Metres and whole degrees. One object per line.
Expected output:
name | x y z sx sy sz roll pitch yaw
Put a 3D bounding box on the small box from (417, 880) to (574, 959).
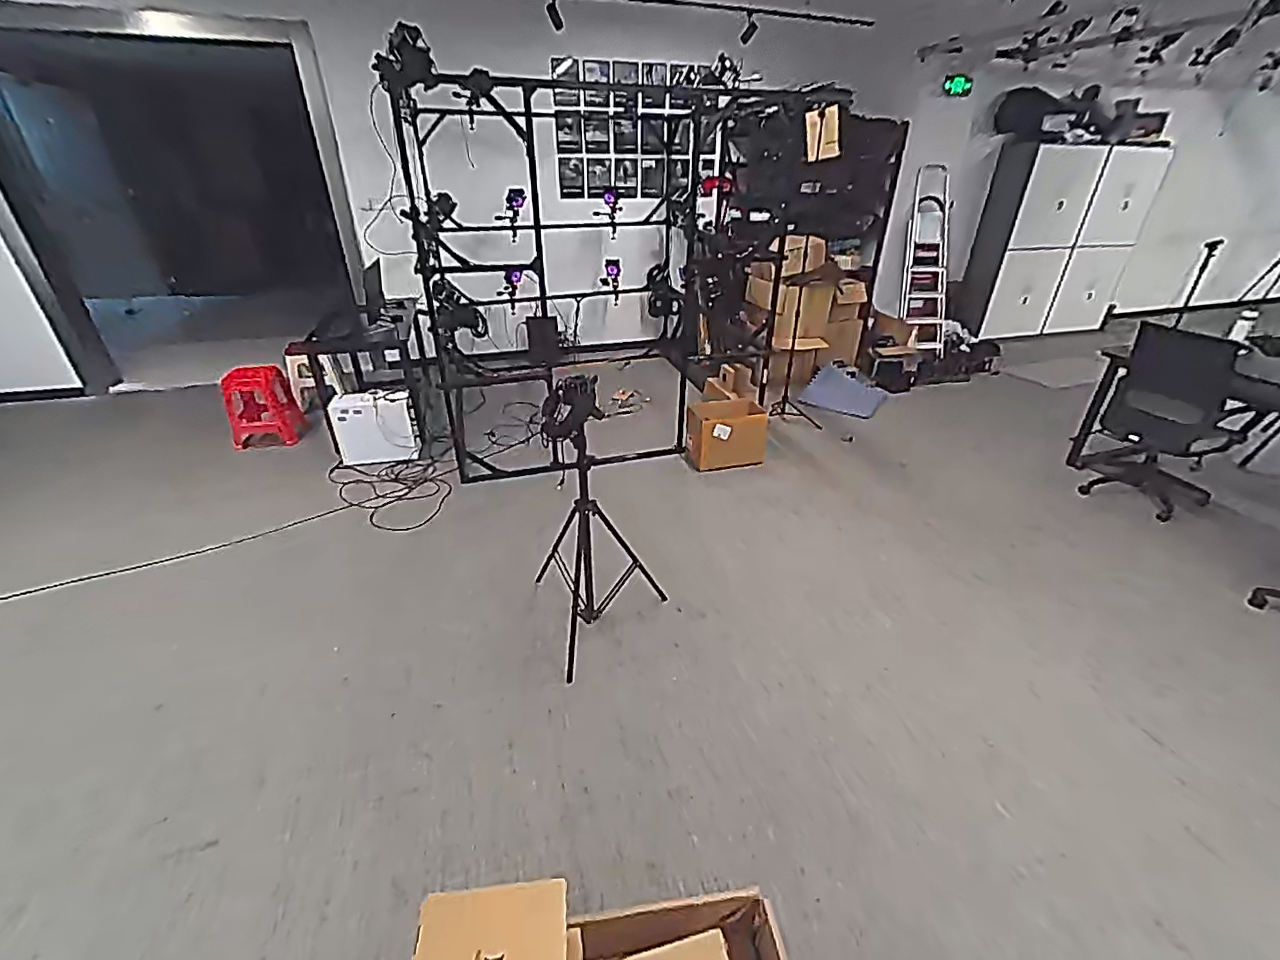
small box | -0.166 0.618 0.643 0.179 0.176 0.168 -3 29 -7
